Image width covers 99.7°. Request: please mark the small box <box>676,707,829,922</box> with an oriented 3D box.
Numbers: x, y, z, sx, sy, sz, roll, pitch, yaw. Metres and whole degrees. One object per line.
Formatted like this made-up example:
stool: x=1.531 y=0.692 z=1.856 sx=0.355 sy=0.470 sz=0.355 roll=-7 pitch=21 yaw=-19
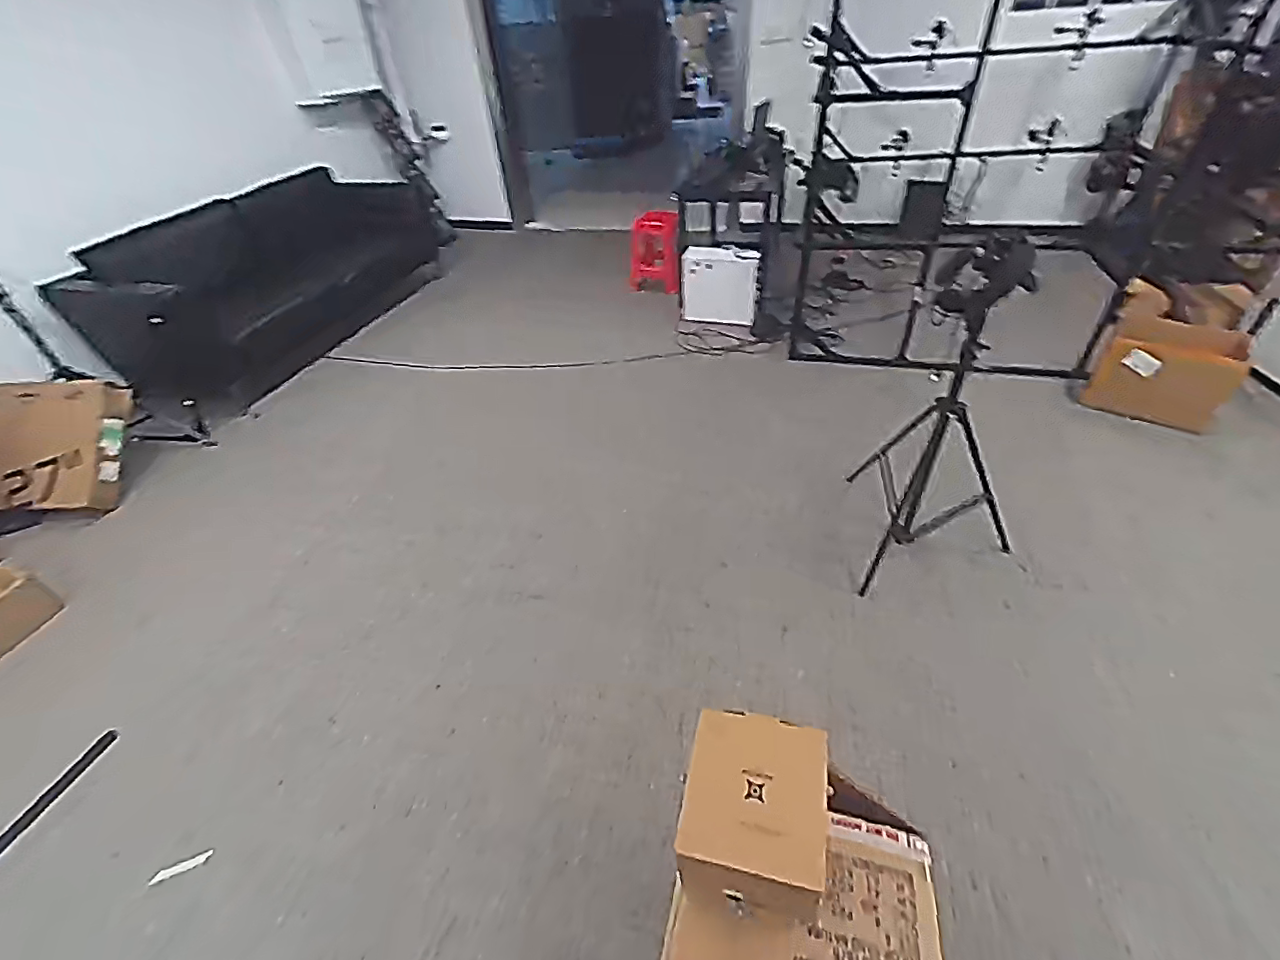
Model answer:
small box: x=0.147 y=0.428 z=0.698 sx=0.168 sy=0.176 sz=0.179 roll=5 pitch=44 yaw=15
